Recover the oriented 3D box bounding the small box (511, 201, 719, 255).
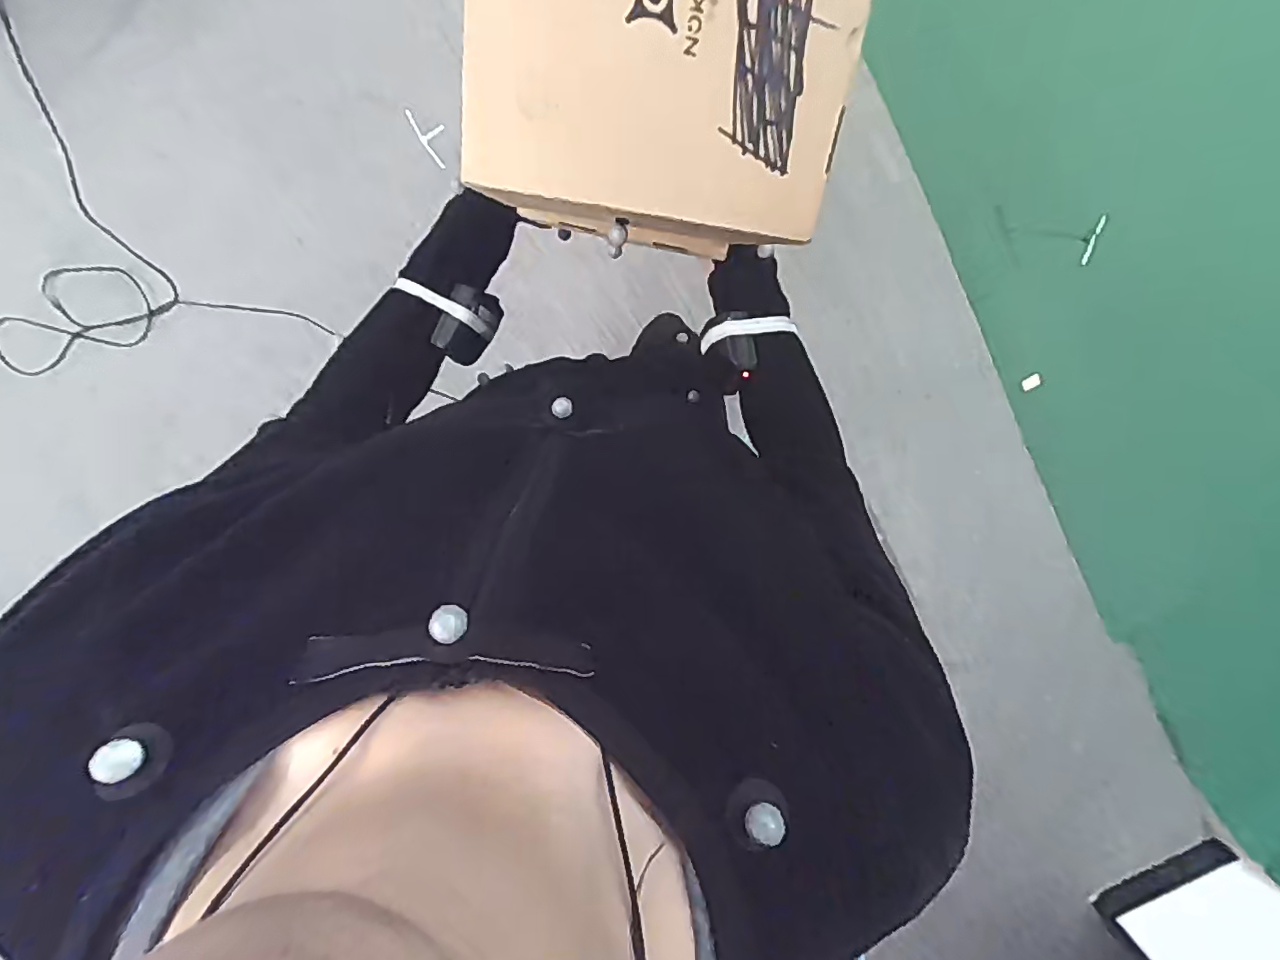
[{"bbox_3d":[-0.009,-0.301,0.457,0.168,0.176,0.179,9,113,-9],"label":"small box"}]

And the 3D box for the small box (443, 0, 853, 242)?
[{"bbox_3d":[0.000,-0.238,0.305,0.179,0.176,0.168,6,113,-7],"label":"small box"}]
